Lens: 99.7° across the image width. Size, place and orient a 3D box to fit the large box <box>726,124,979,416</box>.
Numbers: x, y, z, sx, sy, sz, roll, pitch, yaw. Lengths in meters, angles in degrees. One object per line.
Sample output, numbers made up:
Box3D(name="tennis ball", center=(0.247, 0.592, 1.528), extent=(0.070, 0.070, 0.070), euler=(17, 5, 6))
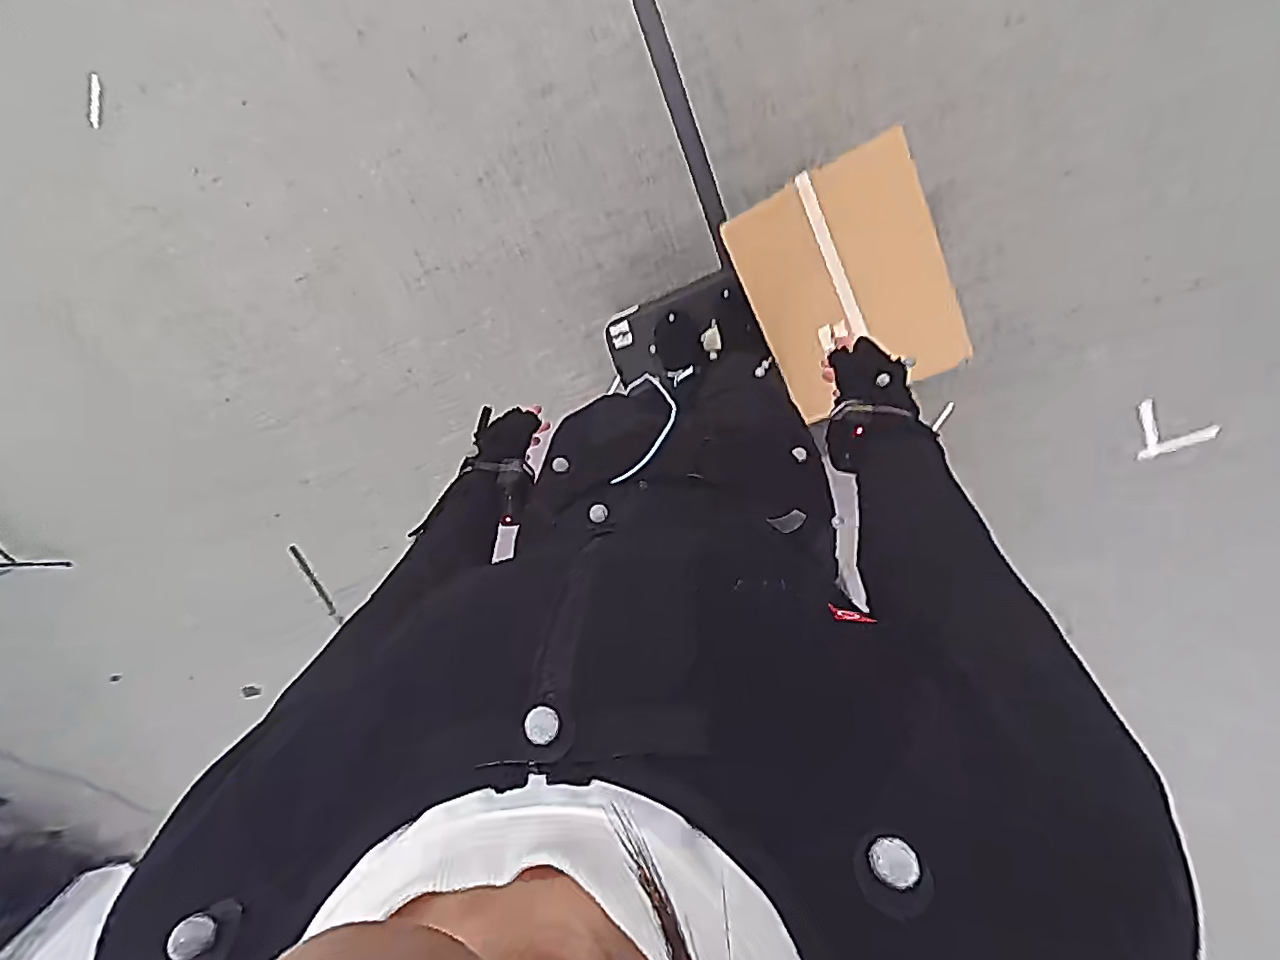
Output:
Box3D(name="large box", center=(0.408, -0.406, 1.081), extent=(0.320, 0.320, 0.408), euler=(-21, 109, 25))
